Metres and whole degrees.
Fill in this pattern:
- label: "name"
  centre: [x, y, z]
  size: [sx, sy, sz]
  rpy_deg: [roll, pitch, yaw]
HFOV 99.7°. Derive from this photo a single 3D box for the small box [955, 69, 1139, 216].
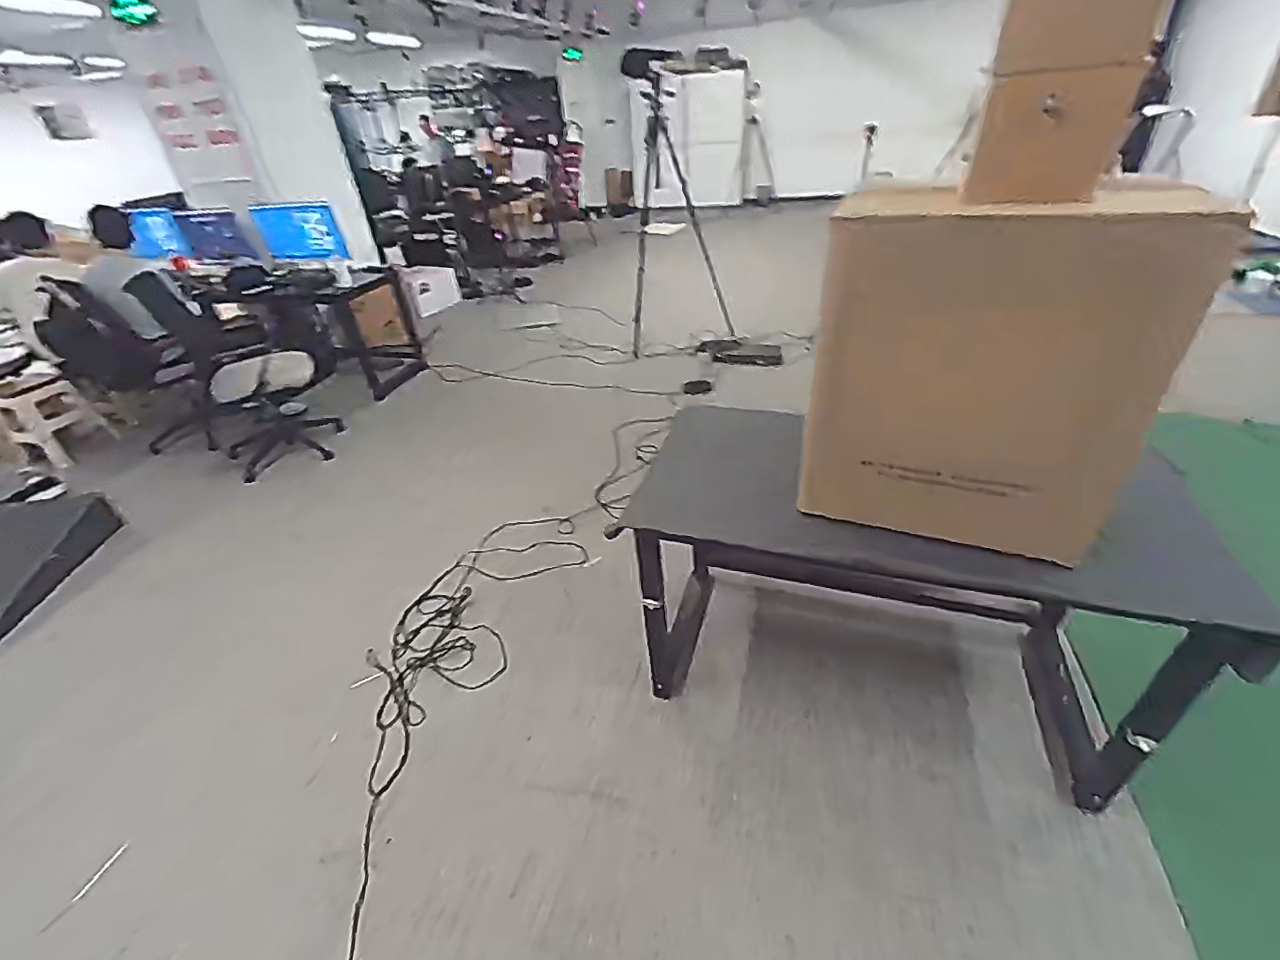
- label: "small box"
  centre: [0.606, -0.514, 0.831]
  size: [0.179, 0.176, 0.168]
  rpy_deg: [11, 40, 23]
